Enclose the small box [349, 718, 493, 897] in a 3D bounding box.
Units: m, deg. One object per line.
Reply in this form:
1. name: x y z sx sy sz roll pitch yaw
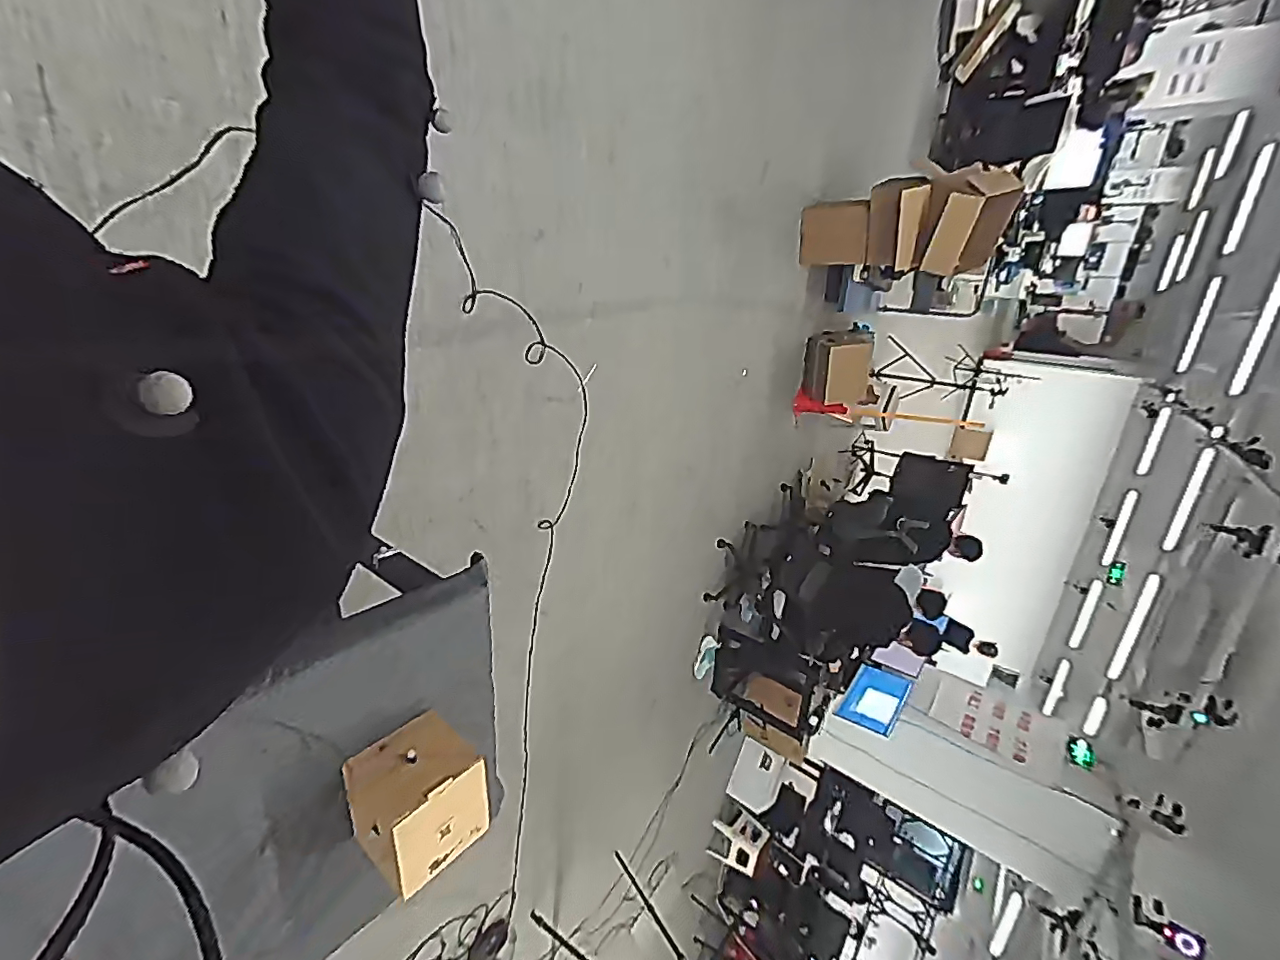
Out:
1. small box: -0.378 0.546 0.935 0.168 0.176 0.179 -22 121 -47
